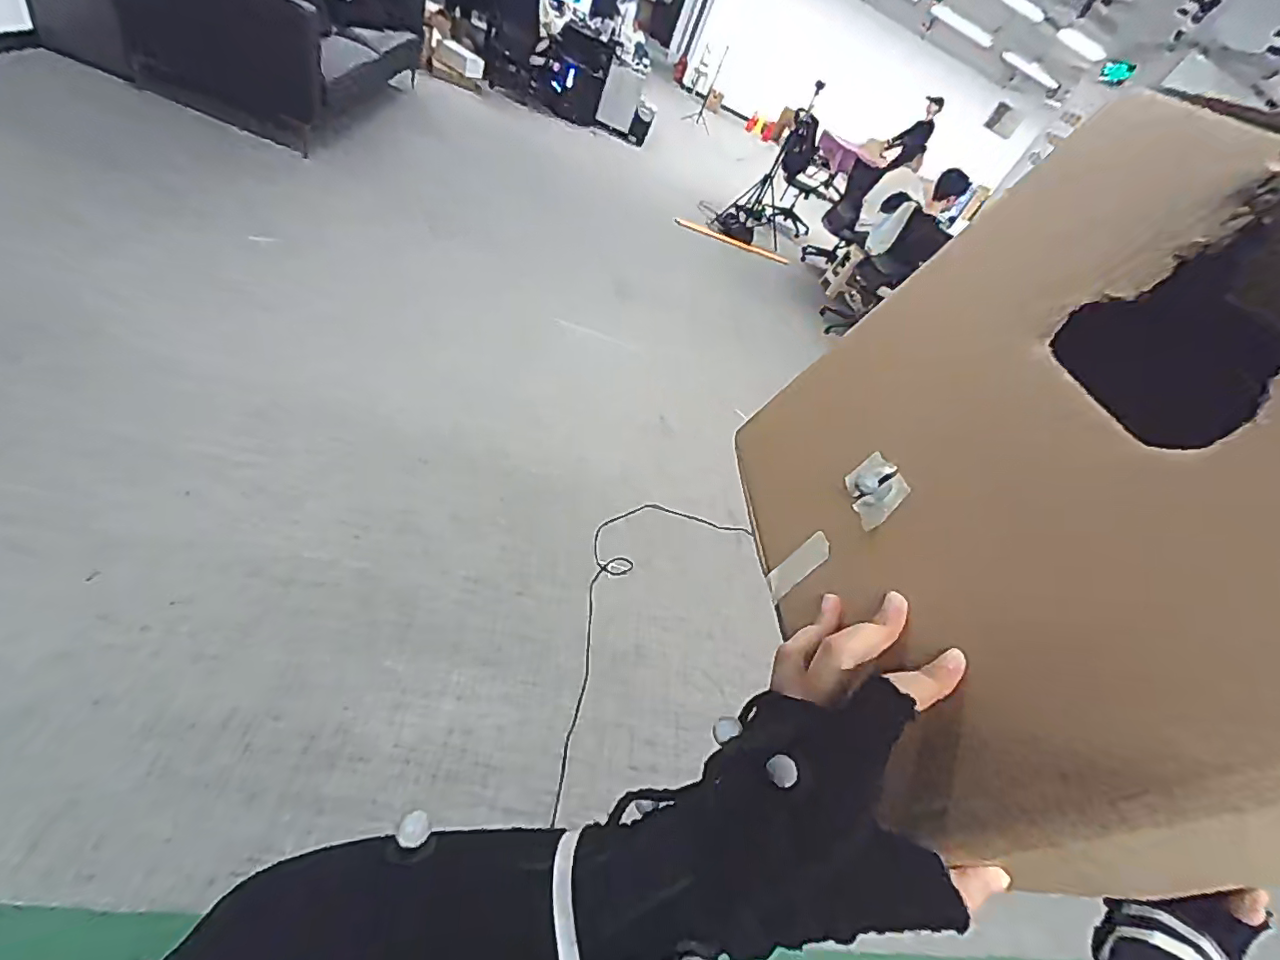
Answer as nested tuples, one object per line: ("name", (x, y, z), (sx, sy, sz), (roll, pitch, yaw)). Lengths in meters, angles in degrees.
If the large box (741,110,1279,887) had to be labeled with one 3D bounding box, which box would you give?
("large box", (0.337, 0.064, 0.369), (0.408, 0.320, 0.320), (26, 40, -29))
